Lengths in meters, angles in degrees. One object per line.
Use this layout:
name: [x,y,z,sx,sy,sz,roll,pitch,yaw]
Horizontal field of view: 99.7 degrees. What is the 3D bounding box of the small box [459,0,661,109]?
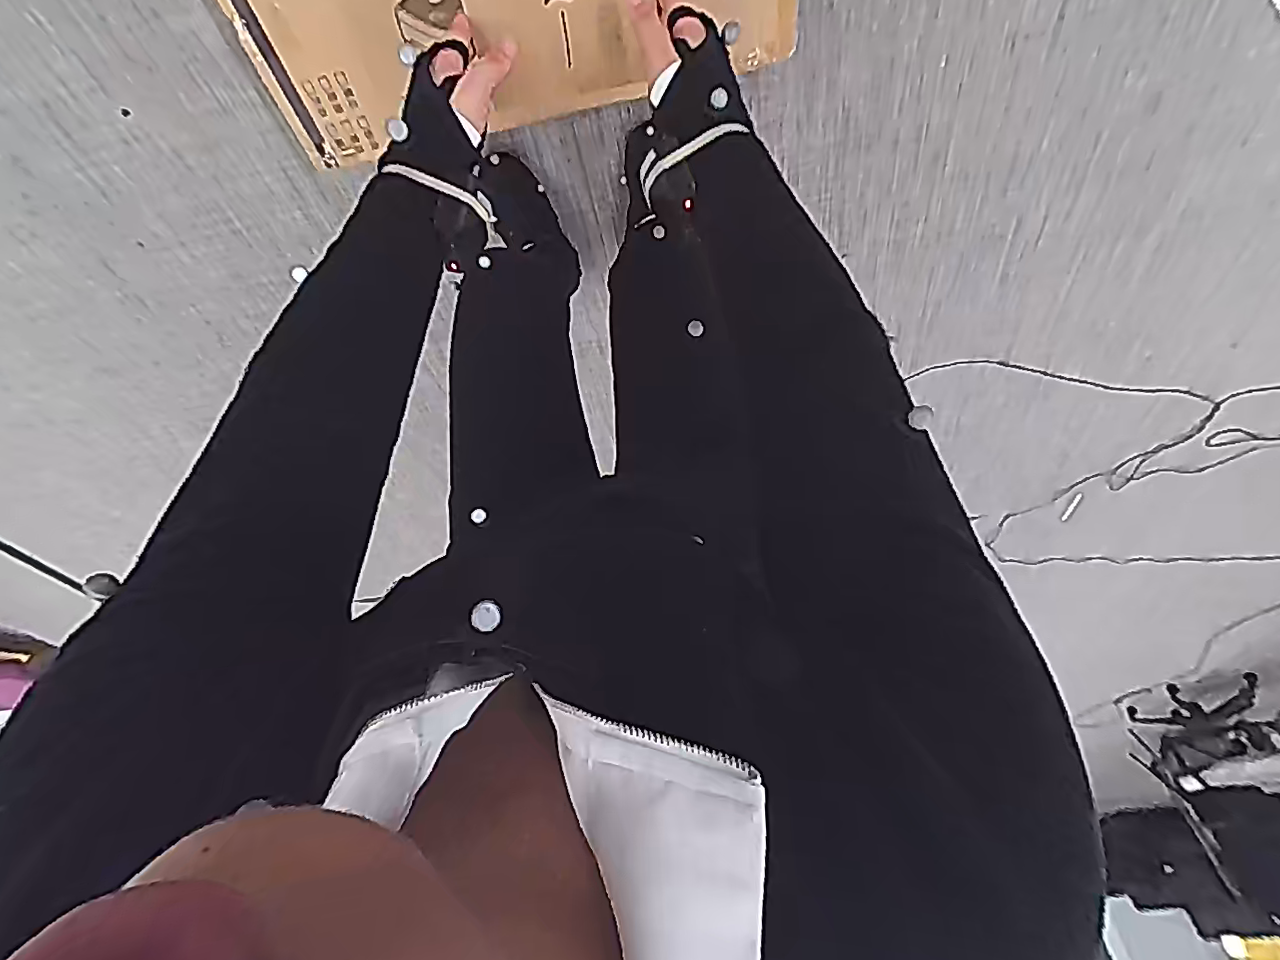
small box: [-0.075,-0.475,0.497,0.168,0.176,0.179,-6,137,7]
